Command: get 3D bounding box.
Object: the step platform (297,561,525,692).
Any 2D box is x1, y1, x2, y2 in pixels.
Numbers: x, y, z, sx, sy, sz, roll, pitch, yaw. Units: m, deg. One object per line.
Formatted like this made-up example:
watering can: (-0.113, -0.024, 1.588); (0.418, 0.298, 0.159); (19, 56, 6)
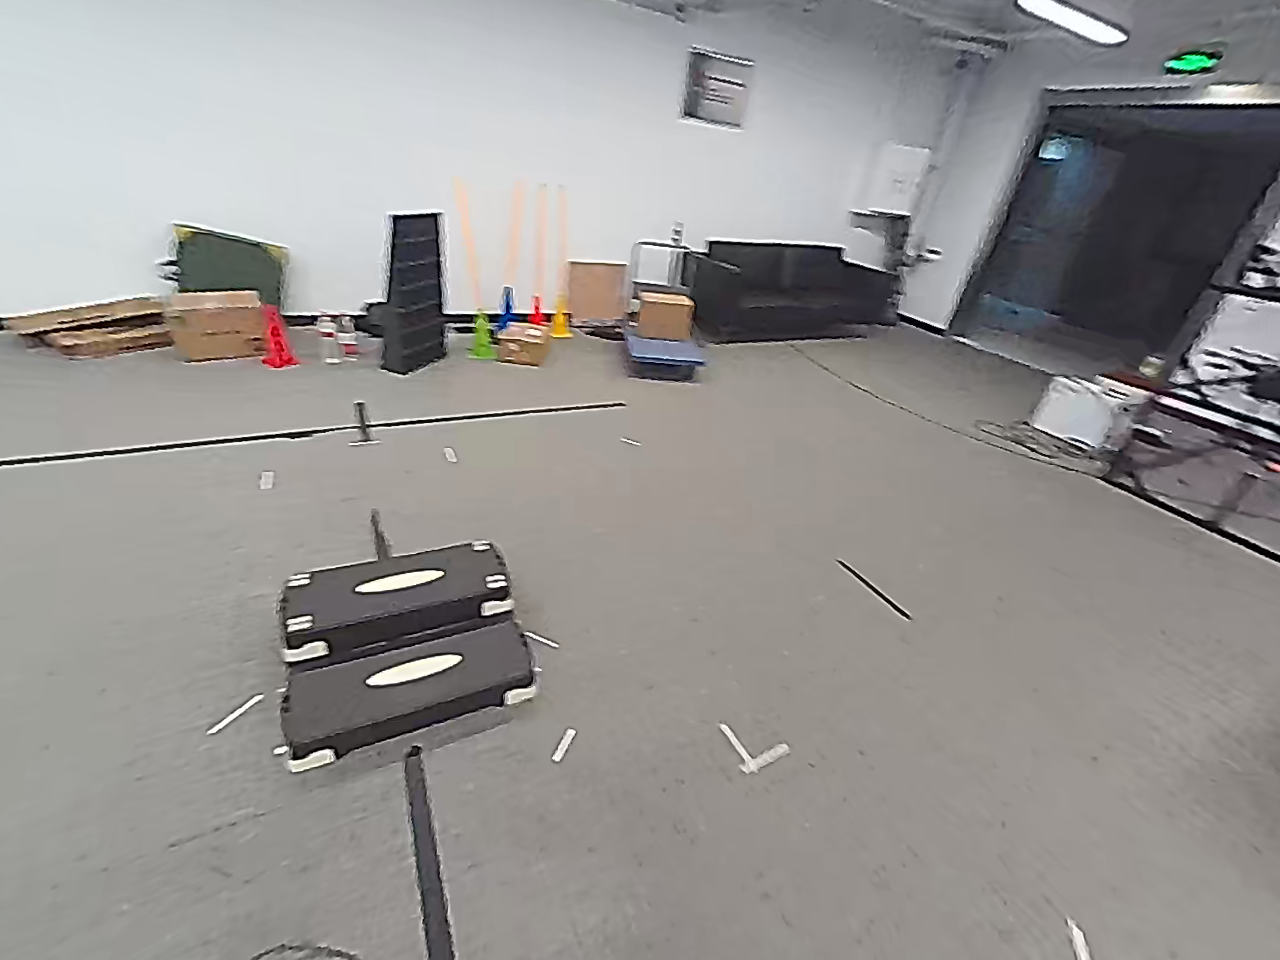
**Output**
step platform: (-0.733, 0.461, 1.790); (0.684, 0.204, 0.286); (-5, 31, -23)
